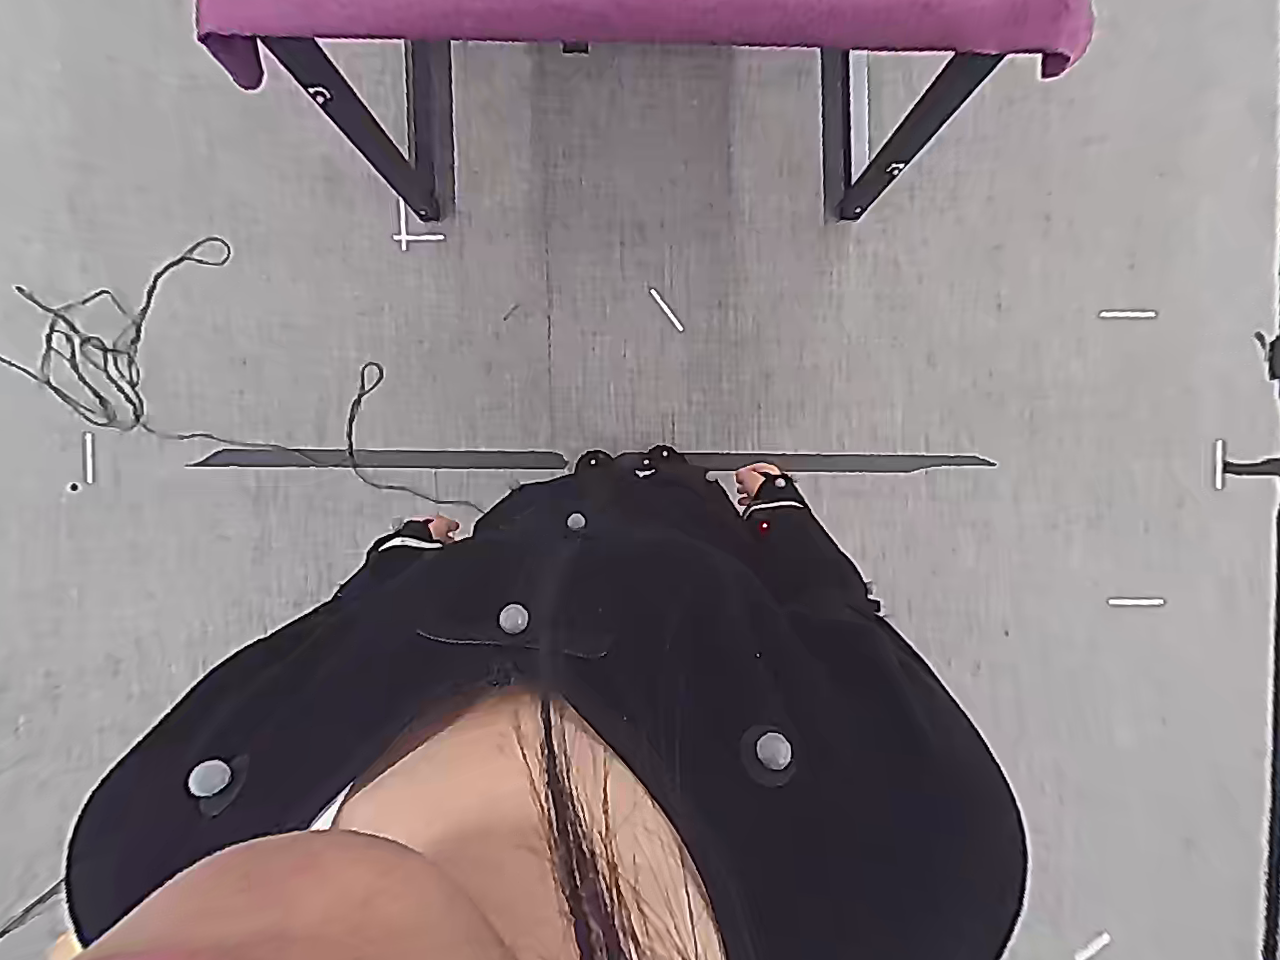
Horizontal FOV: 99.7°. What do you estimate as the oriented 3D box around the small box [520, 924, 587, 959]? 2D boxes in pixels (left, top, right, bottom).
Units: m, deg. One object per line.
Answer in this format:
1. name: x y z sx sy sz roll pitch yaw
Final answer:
1. small box: -0.228 1.351 1.448 0.168 0.176 0.179 -10 91 -2
